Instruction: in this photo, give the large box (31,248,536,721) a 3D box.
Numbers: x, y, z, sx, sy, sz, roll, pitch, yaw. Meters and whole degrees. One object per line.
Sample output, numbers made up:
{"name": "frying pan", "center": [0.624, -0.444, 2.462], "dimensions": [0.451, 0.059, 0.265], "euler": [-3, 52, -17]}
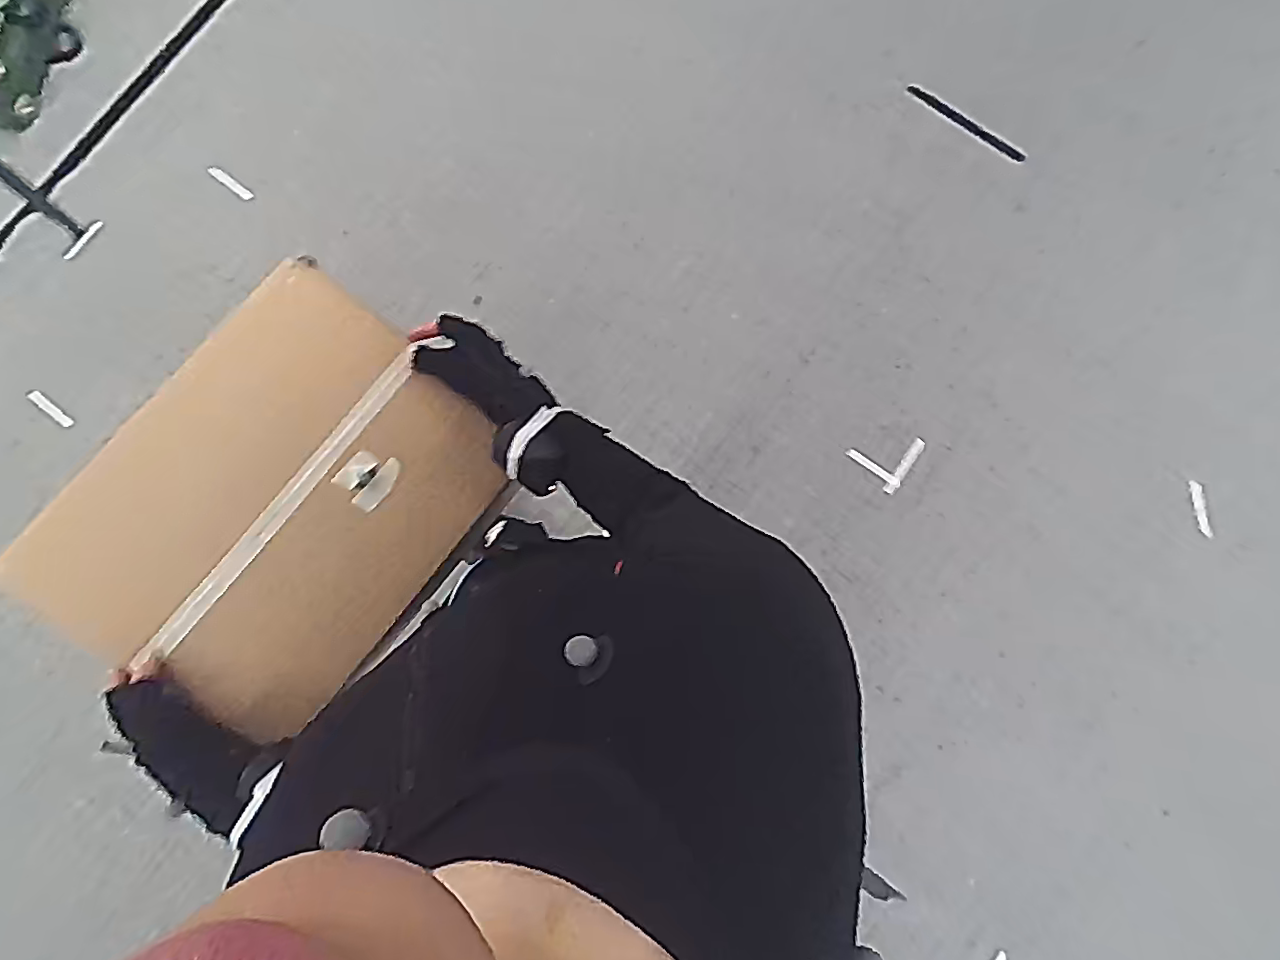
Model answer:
{"name": "large box", "center": [-0.379, 0.008, 0.707], "dimensions": [0.320, 0.320, 0.408], "euler": [39, 82, -8]}
